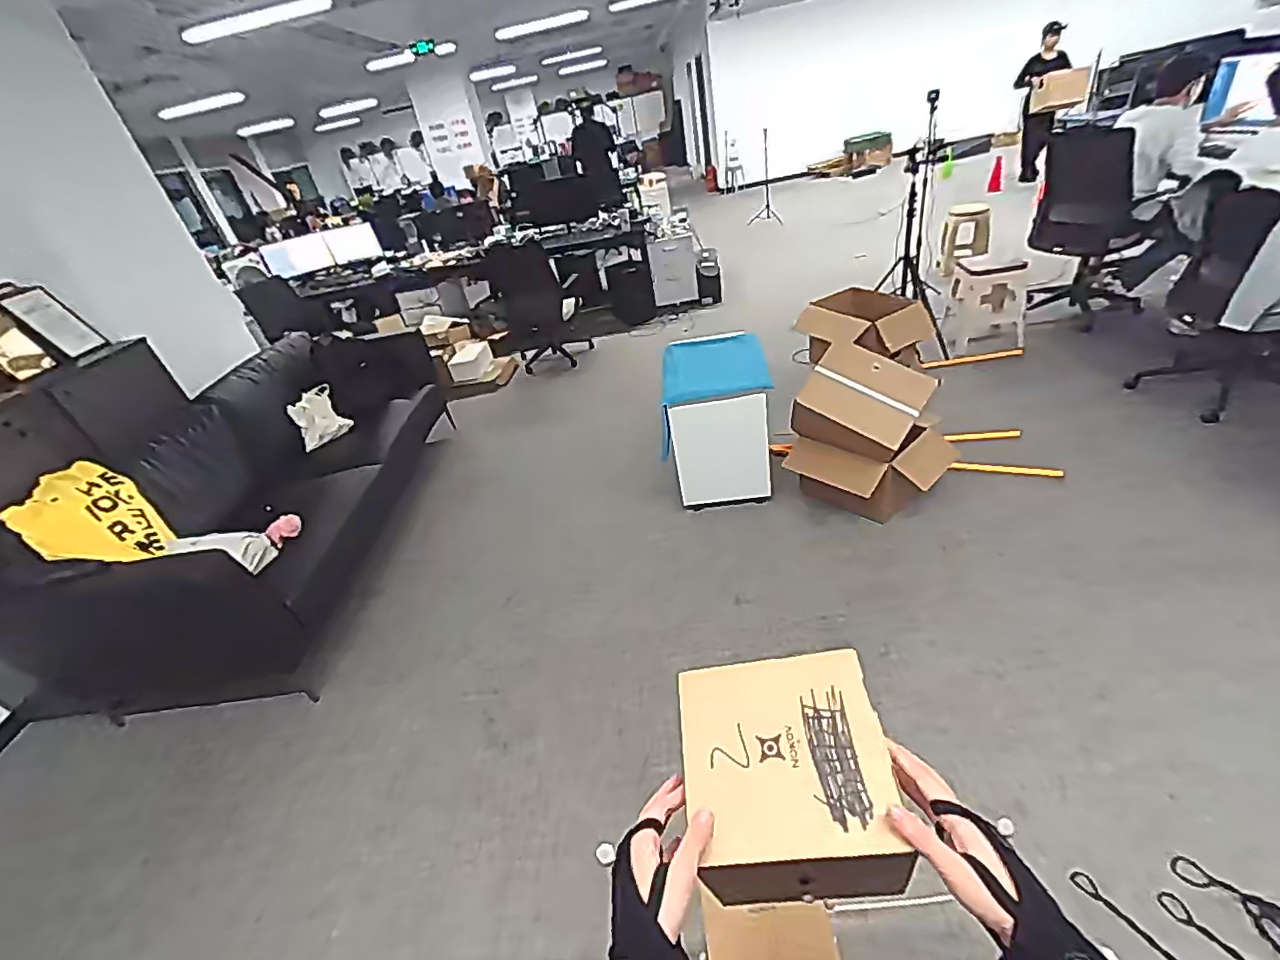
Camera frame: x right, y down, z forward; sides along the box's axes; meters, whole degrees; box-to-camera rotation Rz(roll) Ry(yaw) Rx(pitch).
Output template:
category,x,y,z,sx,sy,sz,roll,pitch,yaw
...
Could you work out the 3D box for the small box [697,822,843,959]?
category,x,y,z,sx,sy,sz,roll,pitch,yaw
small box,0.184,0.634,0.780,0.168,0.176,0.179,-12,35,4
